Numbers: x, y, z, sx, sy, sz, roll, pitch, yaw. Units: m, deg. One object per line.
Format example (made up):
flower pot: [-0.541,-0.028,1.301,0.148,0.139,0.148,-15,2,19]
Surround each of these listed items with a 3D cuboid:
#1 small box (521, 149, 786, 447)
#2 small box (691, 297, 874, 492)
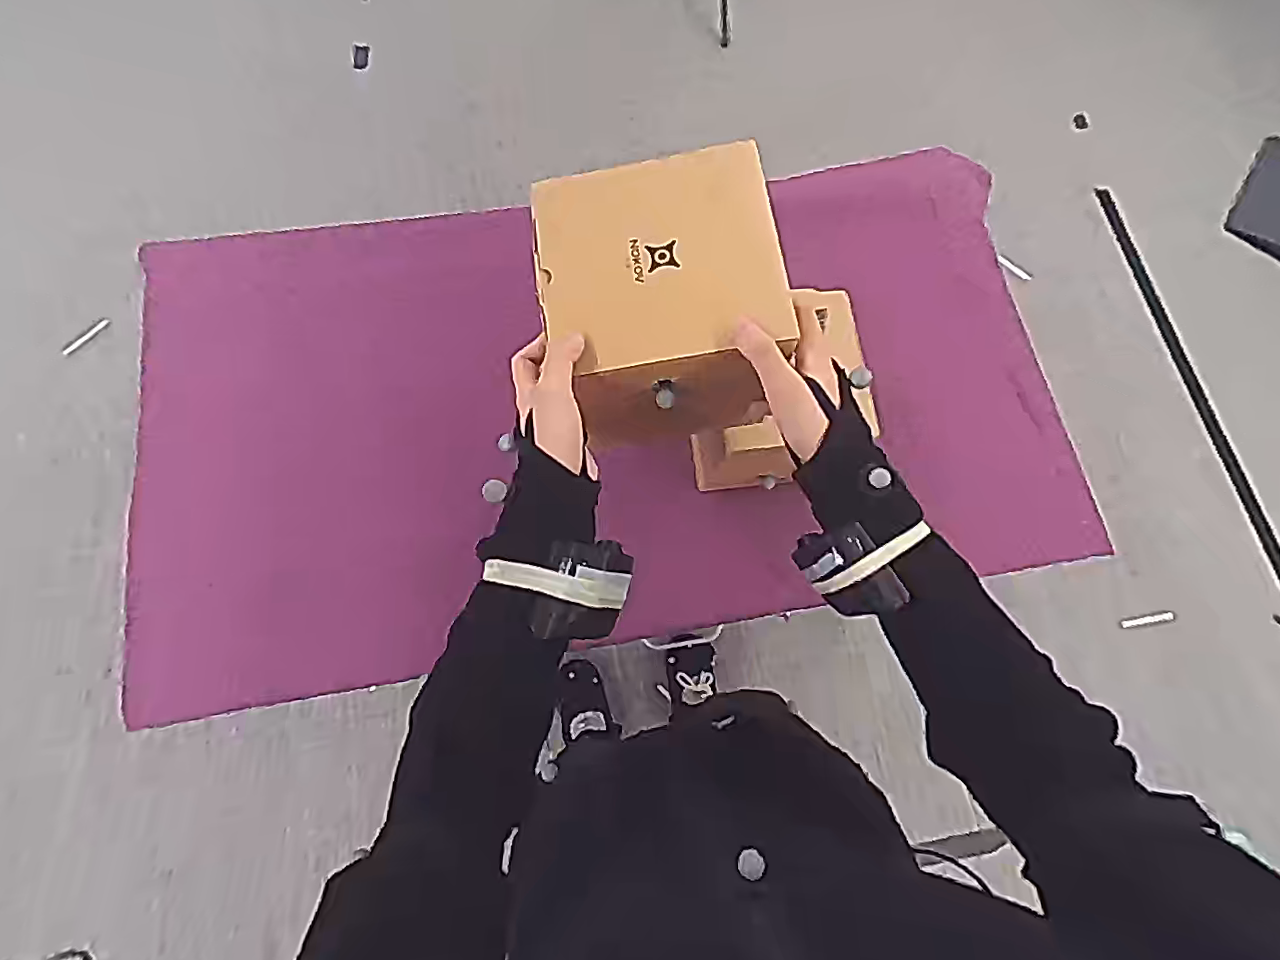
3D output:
small box: [0.012,-0.138,0.467,0.179,0.176,0.168,-9,76,5]
small box: [0.151,-0.095,0.654,0.168,0.176,0.179,-5,76,-4]
